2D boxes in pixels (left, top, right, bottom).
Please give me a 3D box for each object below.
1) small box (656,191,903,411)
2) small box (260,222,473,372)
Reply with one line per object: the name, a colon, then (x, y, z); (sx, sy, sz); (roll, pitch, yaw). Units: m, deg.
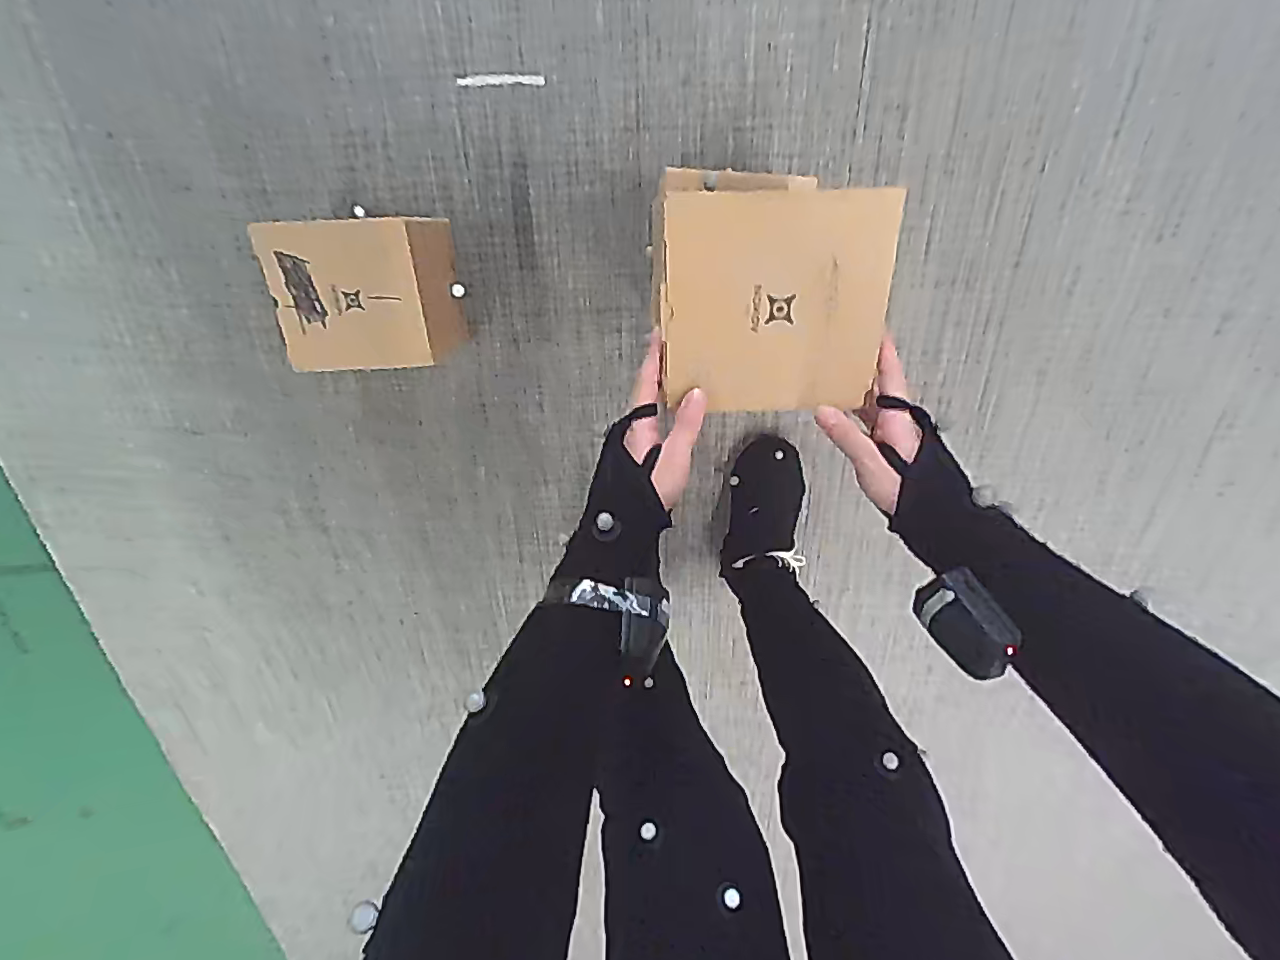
small box: (0.104, -0.166, 0.495); (0.179, 0.176, 0.168); (-2, 115, -1)
small box: (-0.337, -0.242, 0.707); (0.179, 0.176, 0.168); (-3, 115, -1)
